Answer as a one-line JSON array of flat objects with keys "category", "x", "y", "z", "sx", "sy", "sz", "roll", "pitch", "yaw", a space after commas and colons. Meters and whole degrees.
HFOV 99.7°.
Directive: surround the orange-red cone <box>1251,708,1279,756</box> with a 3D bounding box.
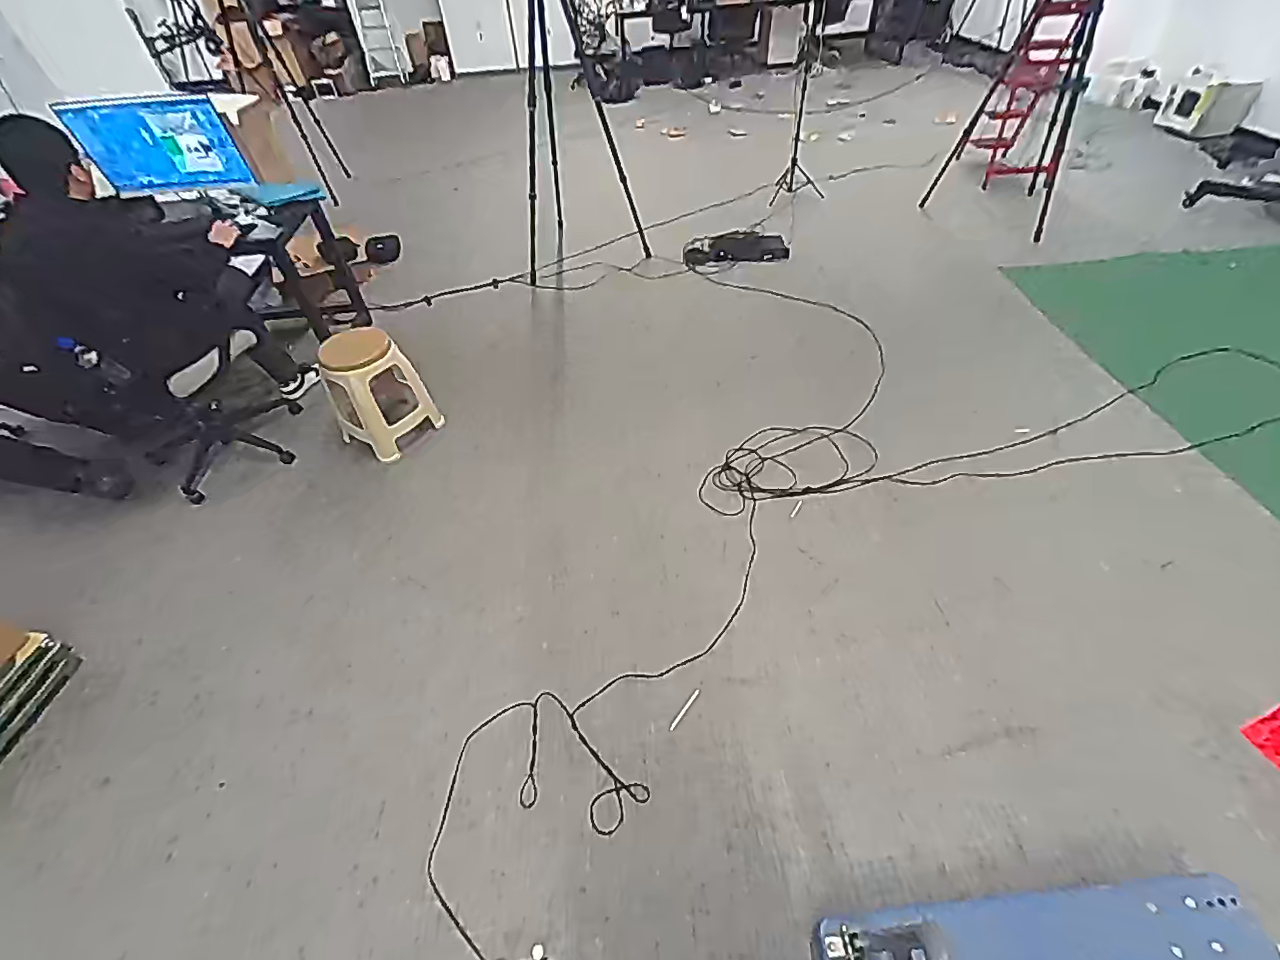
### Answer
[{"category": "orange-red cone", "x": 1.746, "y": 0.581, "z": 1.290, "sx": 0.198, "sy": 0.360, "sz": 0.199, "roll": -17, "pitch": 47, "yaw": -11}]
